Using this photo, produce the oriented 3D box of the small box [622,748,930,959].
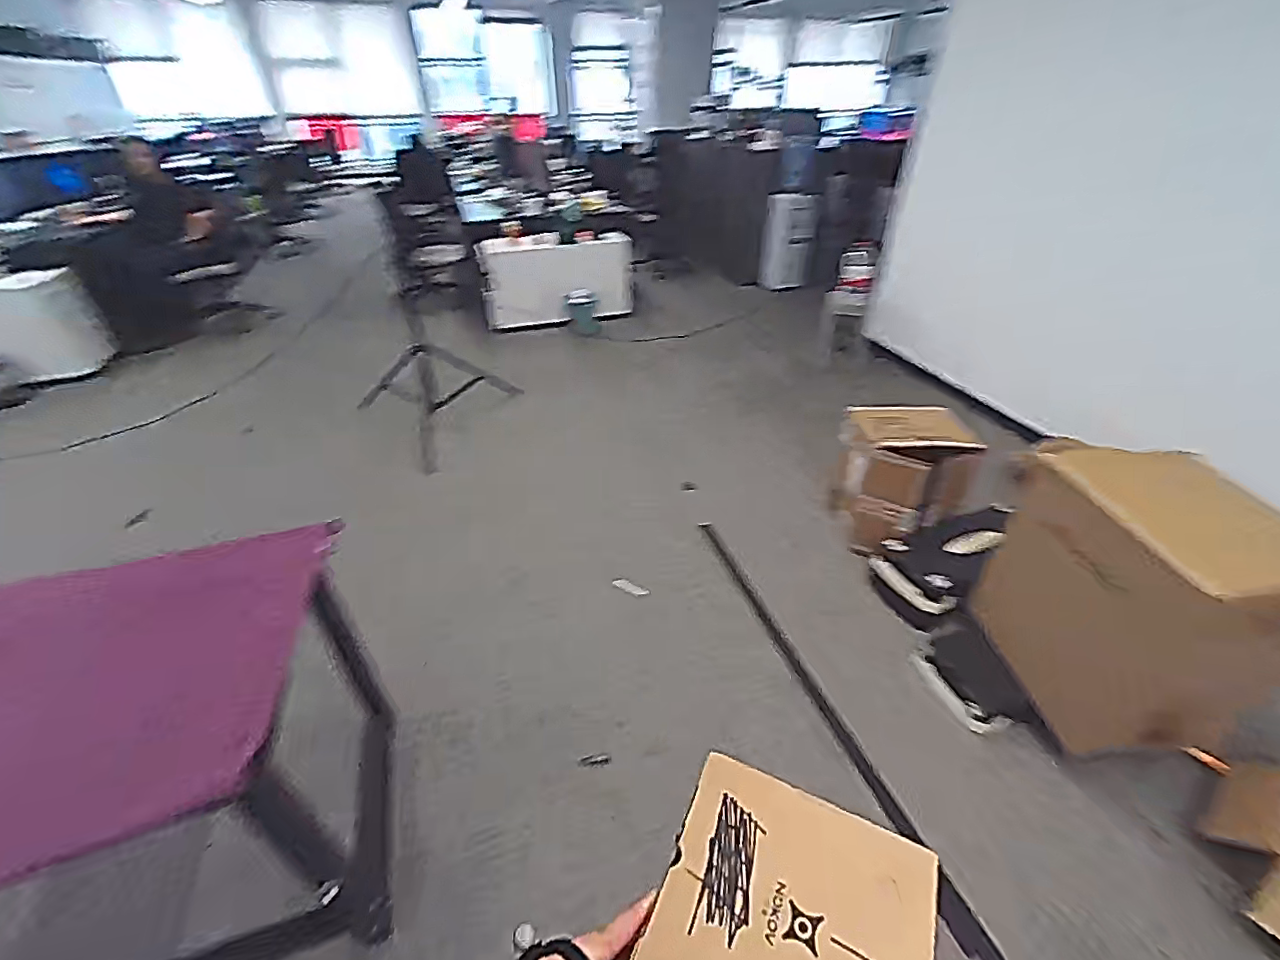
[{"bbox_3d":[0.097,0.350,0.411,0.179,0.176,0.168,16,42,19],"label":"small box"}]
